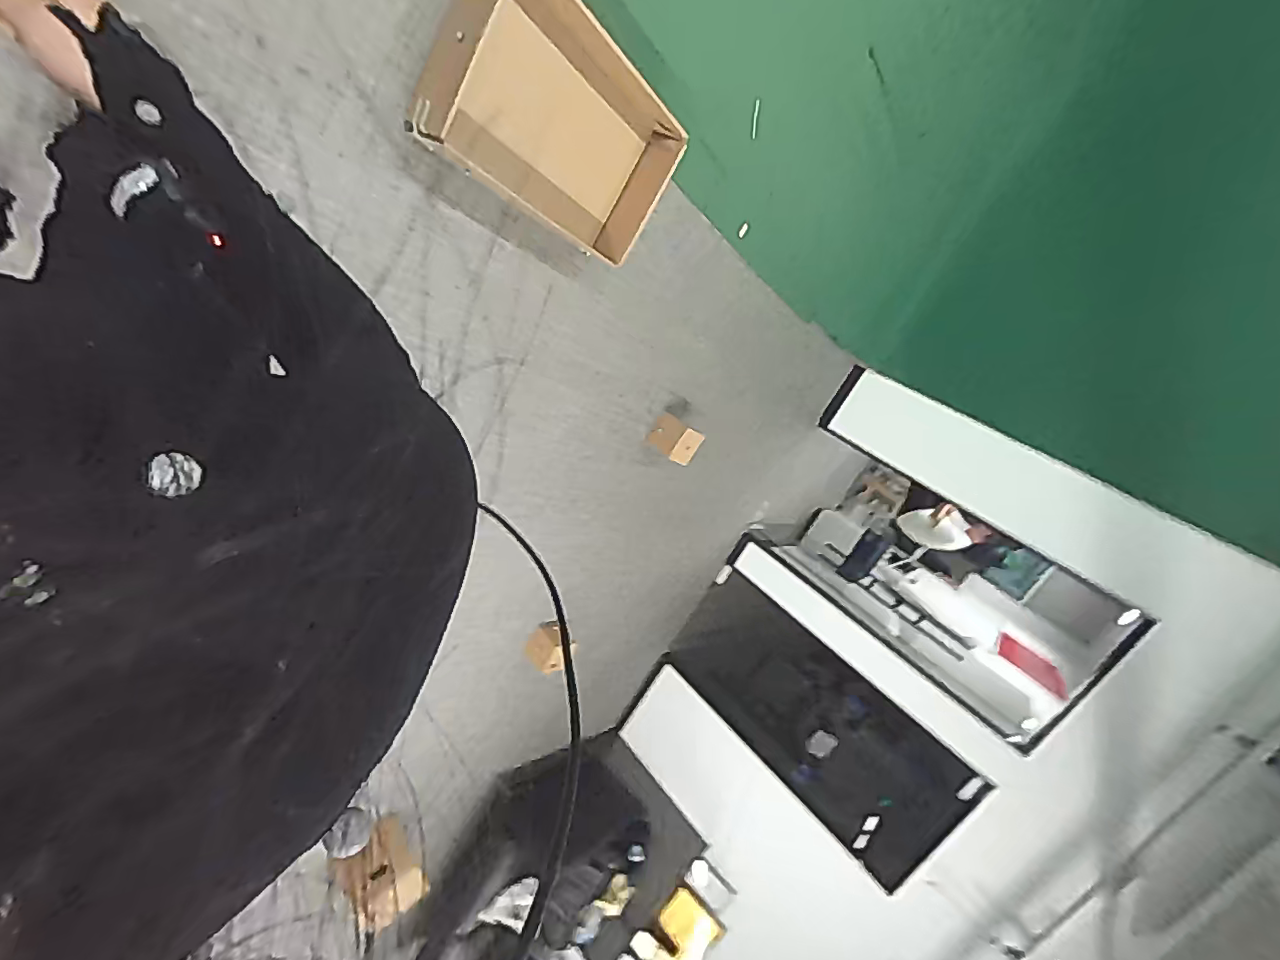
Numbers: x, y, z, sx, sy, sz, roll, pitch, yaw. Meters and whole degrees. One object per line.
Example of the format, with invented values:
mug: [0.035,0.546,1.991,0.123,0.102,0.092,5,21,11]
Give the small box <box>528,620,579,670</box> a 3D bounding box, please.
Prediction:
small box: [-0.461,0.857,2.822,0.168,0.176,0.179,11,113,-55]

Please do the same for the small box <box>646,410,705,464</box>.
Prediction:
small box: [0.162,-0.200,2.490,0.168,0.176,0.179,-57,148,10]

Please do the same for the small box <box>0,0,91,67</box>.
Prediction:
small box: [-0.536,-0.389,0.351,0.168,0.176,0.179,-37,156,-10]
